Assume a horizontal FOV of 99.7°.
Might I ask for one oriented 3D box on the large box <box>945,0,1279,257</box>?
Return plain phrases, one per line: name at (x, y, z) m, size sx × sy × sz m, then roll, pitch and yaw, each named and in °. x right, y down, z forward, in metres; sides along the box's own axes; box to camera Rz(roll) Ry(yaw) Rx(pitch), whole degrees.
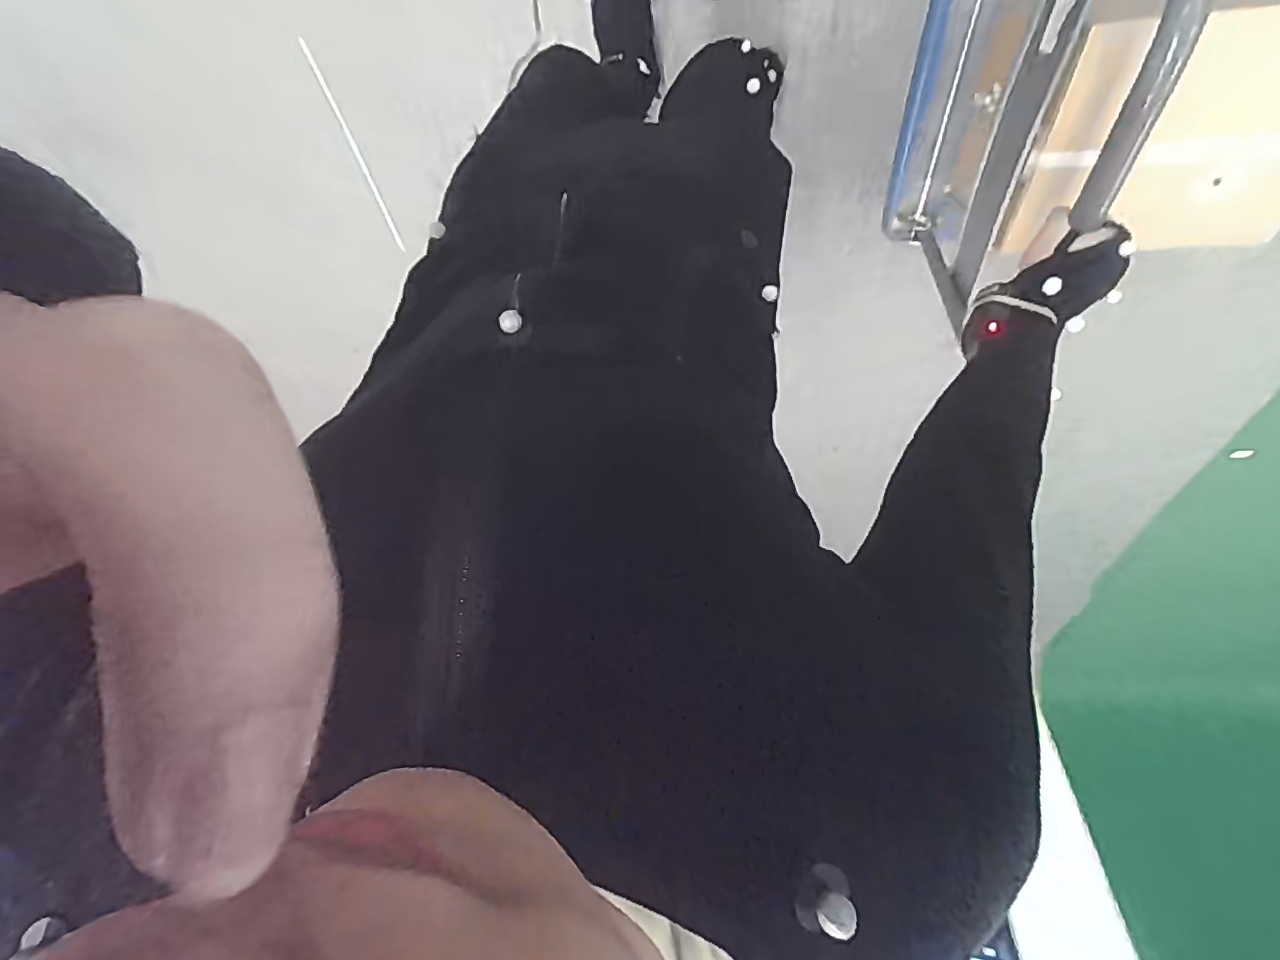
large box at (0.798, -0.599, 0.896) m, size 0.408 × 0.320 × 0.320 m, roll 0°, pitch 139°, yaw 8°
